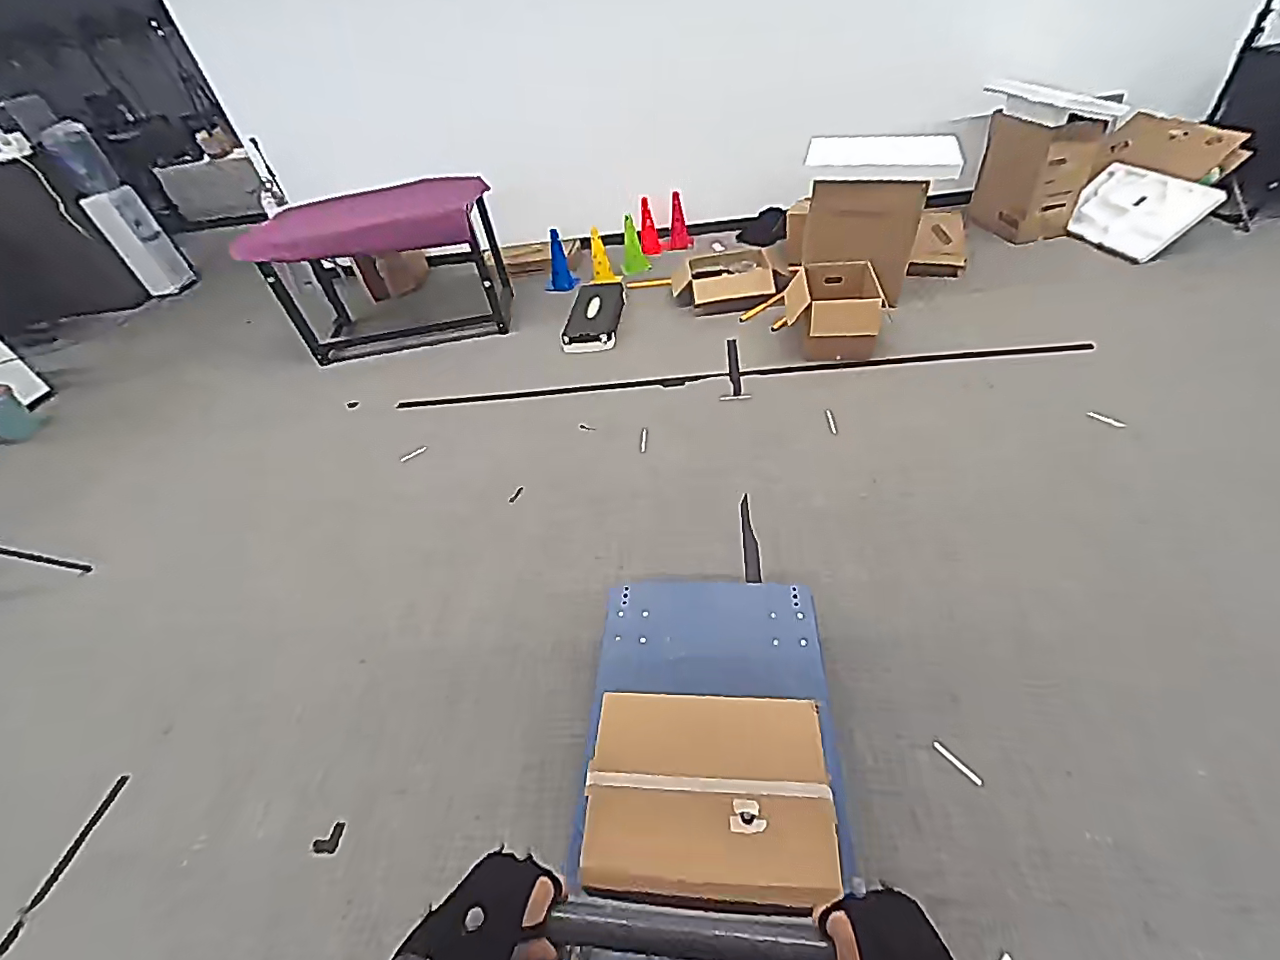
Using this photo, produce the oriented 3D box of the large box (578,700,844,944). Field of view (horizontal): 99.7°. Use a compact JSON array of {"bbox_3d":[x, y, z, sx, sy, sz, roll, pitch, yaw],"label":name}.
[{"bbox_3d":[0.126,0.634,1.011,0.408,0.320,0.320,-1,44,8],"label":"large box"}]
